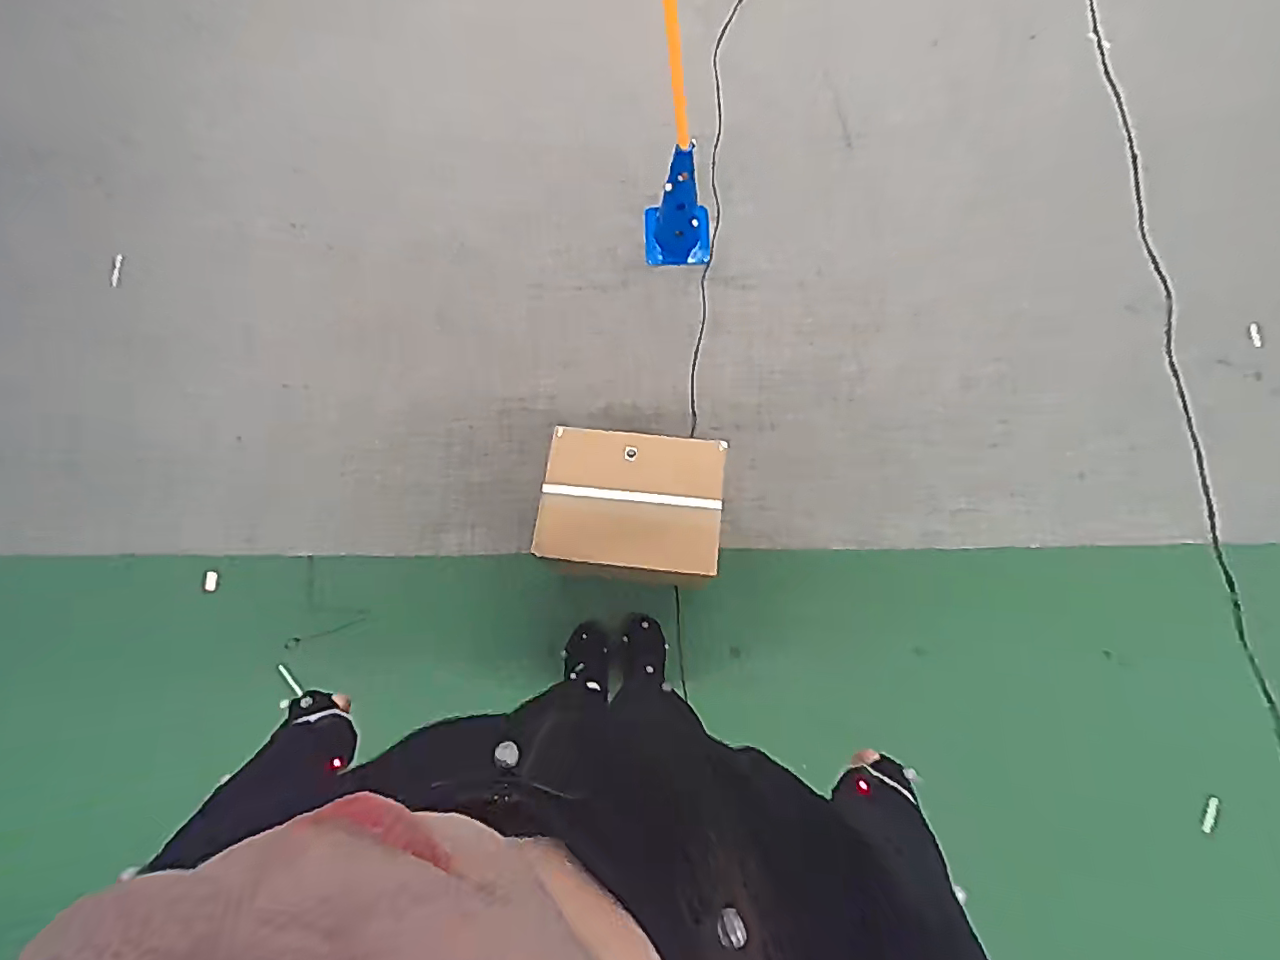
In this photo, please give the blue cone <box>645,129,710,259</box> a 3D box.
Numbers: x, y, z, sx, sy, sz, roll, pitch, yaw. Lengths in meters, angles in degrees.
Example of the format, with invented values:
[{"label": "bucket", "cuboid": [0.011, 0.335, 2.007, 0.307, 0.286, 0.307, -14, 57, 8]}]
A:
[{"label": "blue cone", "cuboid": [0.110, -0.795, 1.493, 0.193, 0.380, 0.192, -4, 80, 1]}]
